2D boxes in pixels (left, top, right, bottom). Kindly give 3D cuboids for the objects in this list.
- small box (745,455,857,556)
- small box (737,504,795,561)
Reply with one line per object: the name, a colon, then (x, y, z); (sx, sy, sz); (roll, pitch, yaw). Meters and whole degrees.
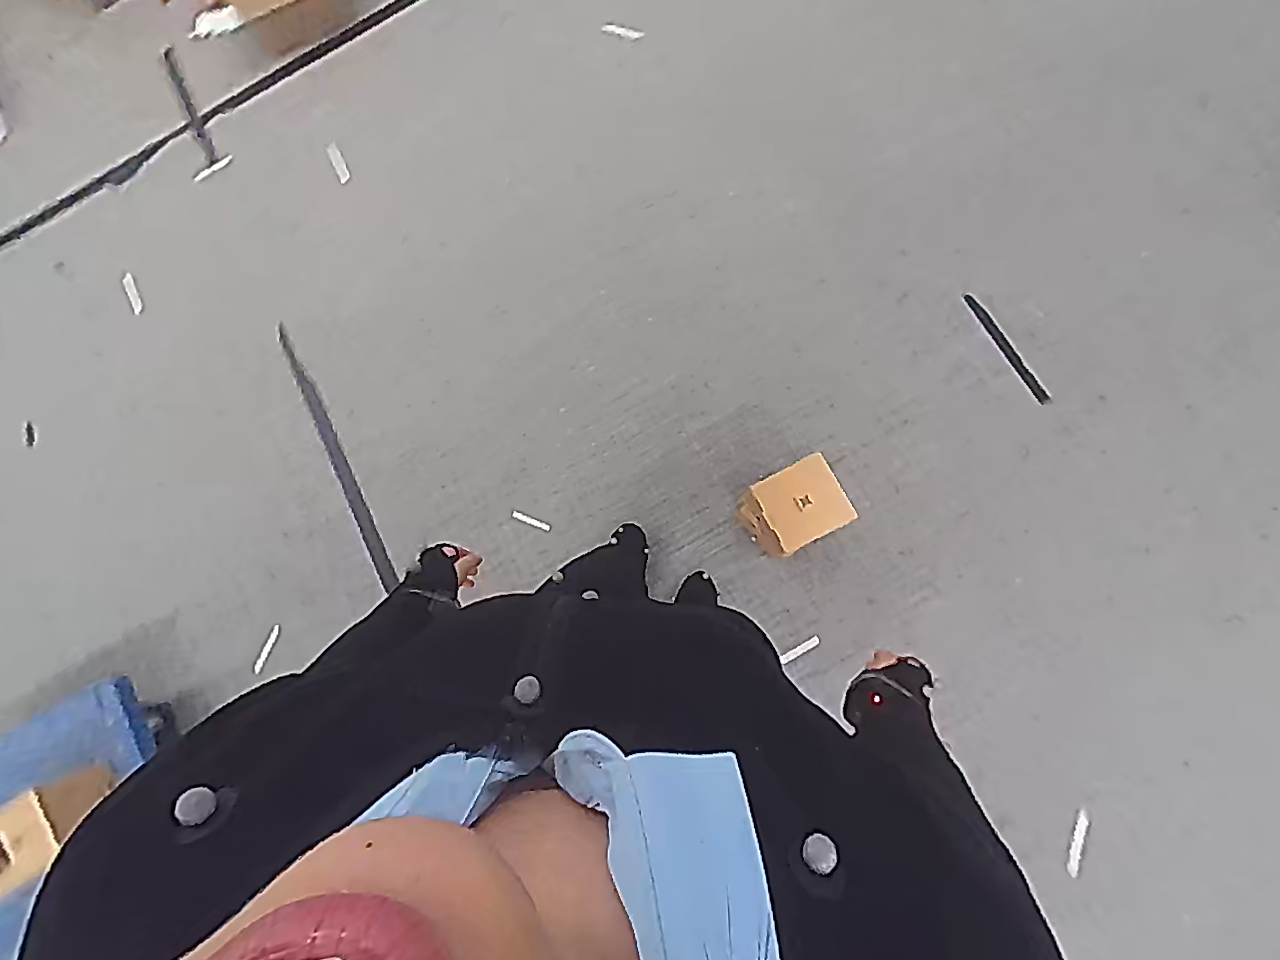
small box: (0.358, 0.062, 1.242); (0.179, 0.176, 0.168); (-28, 81, 1)
small box: (0.370, 0.093, 1.402); (0.179, 0.176, 0.168); (-40, 80, -1)
